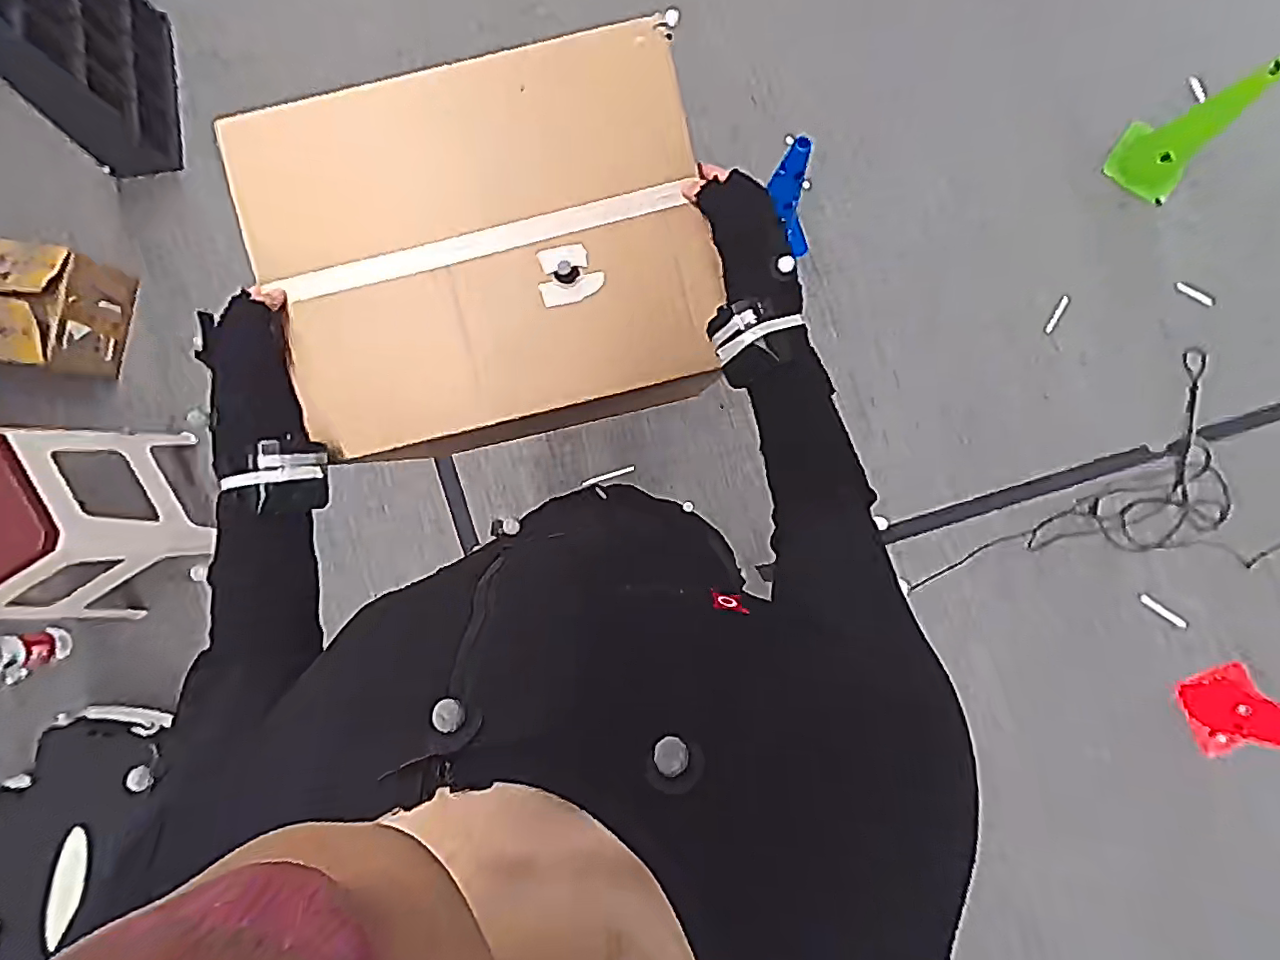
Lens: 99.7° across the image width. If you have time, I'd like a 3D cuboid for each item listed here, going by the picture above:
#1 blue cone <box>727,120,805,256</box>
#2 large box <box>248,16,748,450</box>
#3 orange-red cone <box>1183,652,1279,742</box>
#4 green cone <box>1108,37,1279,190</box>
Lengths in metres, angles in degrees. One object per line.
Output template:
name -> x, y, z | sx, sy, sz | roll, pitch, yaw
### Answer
blue cone -> 0.359, -0.761, 1.392 | 0.193, 0.380, 0.192 | -15, 84, -1
large box -> -0.129, -0.229, 0.638 | 0.408, 0.320, 0.320 | -13, 94, 0
orange-red cone -> 1.558, 0.560, 1.261 | 0.199, 0.360, 0.198 | -21, 86, -3
green cone -> 1.471, -0.970, 1.384 | 0.202, 0.368, 0.200 | 34, 86, 4
